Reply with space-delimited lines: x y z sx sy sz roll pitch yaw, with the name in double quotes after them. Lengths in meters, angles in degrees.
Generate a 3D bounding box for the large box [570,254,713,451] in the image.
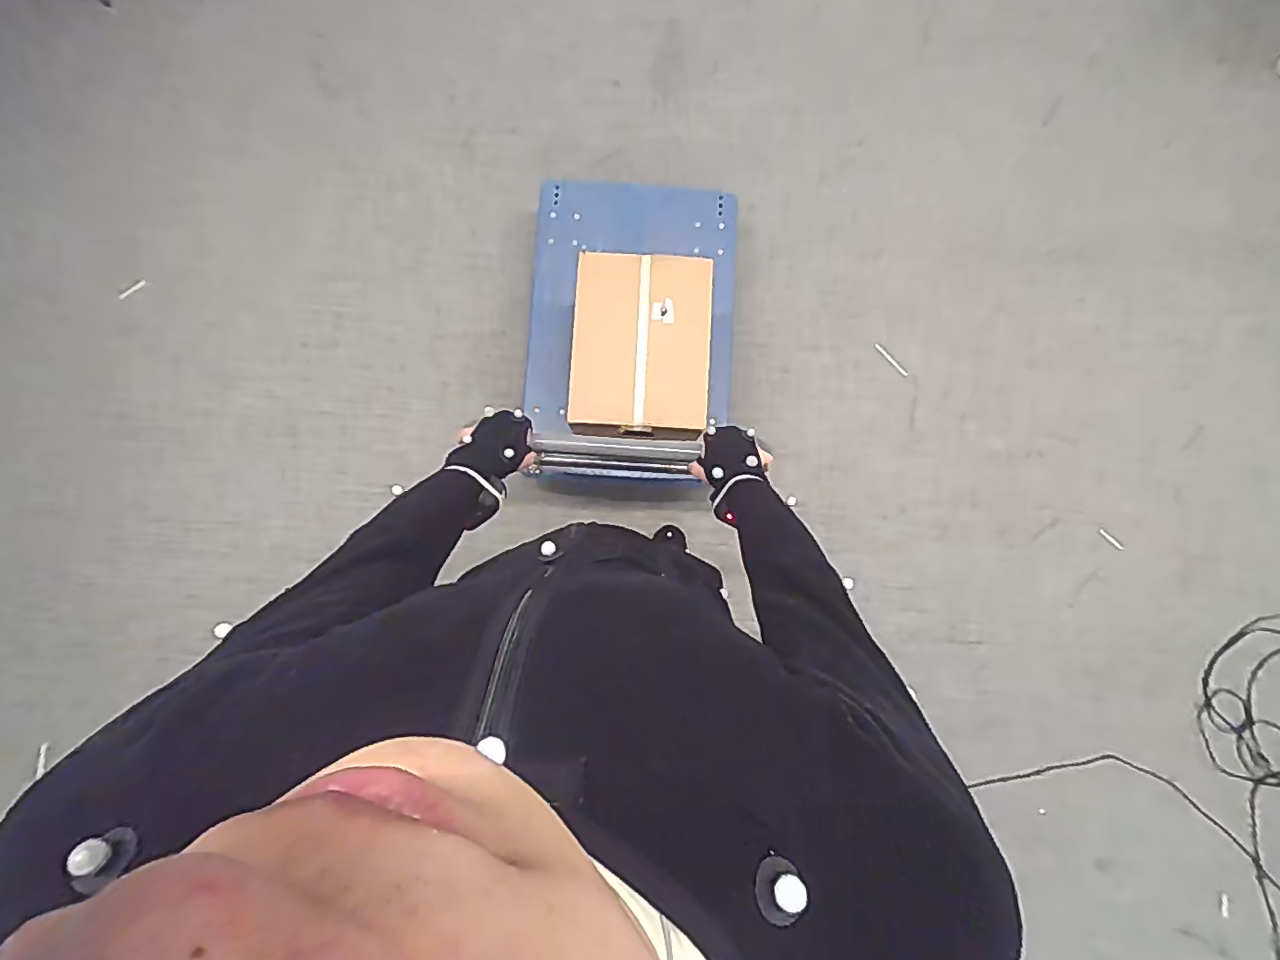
0.005 -0.295 1.358 0.320 0.320 0.408 3 83 -1 "large box"
